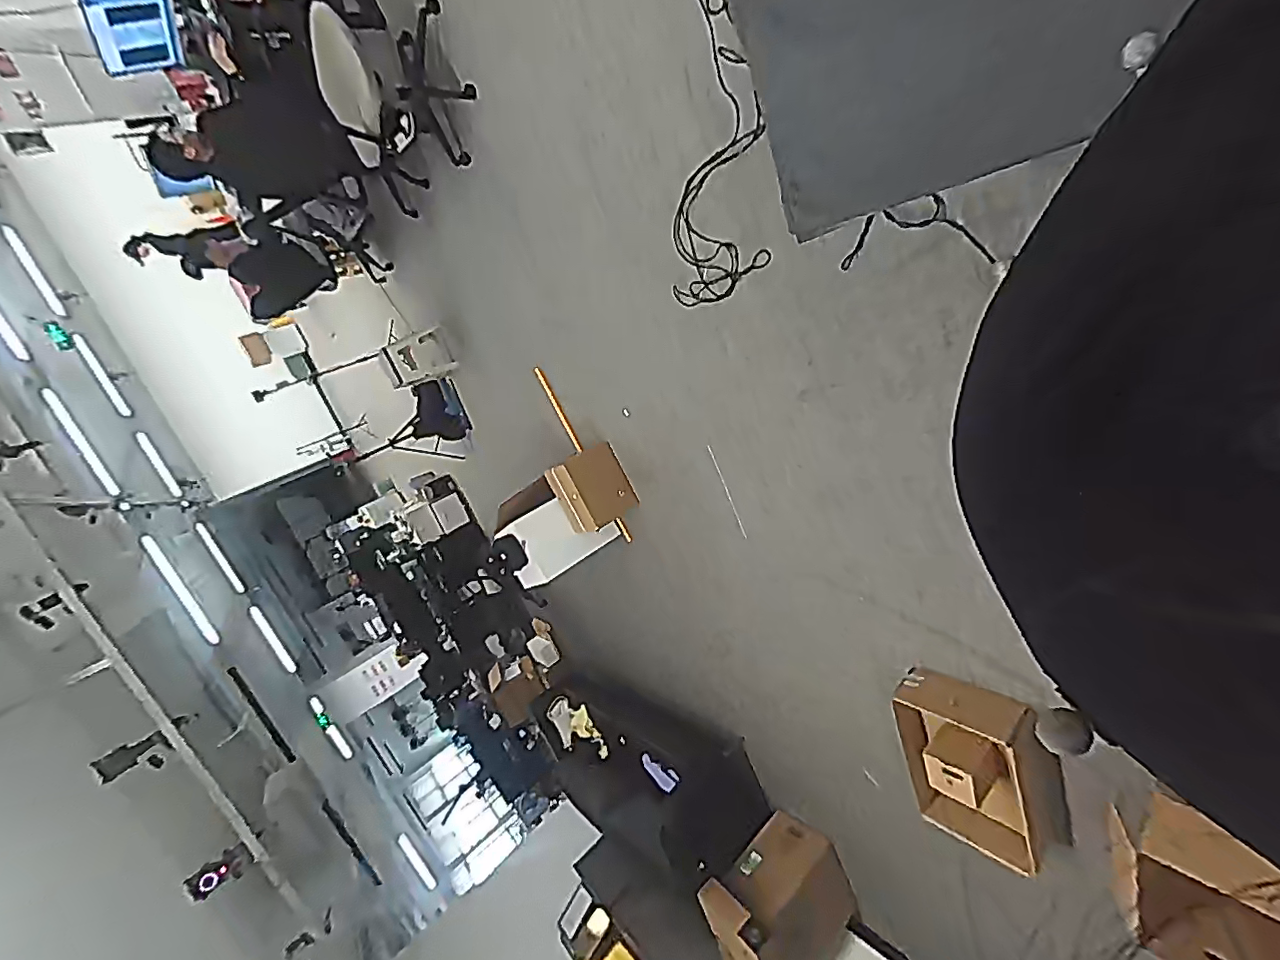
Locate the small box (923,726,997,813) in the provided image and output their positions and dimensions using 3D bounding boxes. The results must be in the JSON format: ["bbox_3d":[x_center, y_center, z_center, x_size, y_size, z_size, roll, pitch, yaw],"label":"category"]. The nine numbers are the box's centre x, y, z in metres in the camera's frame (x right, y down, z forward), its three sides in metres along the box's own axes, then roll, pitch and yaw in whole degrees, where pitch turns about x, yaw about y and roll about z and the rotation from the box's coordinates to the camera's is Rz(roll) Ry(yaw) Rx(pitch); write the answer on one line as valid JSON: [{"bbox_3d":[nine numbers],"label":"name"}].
[{"bbox_3d":[1.129,1.011,1.905,0.168,0.176,0.179,9,125,54],"label":"small box"}]
